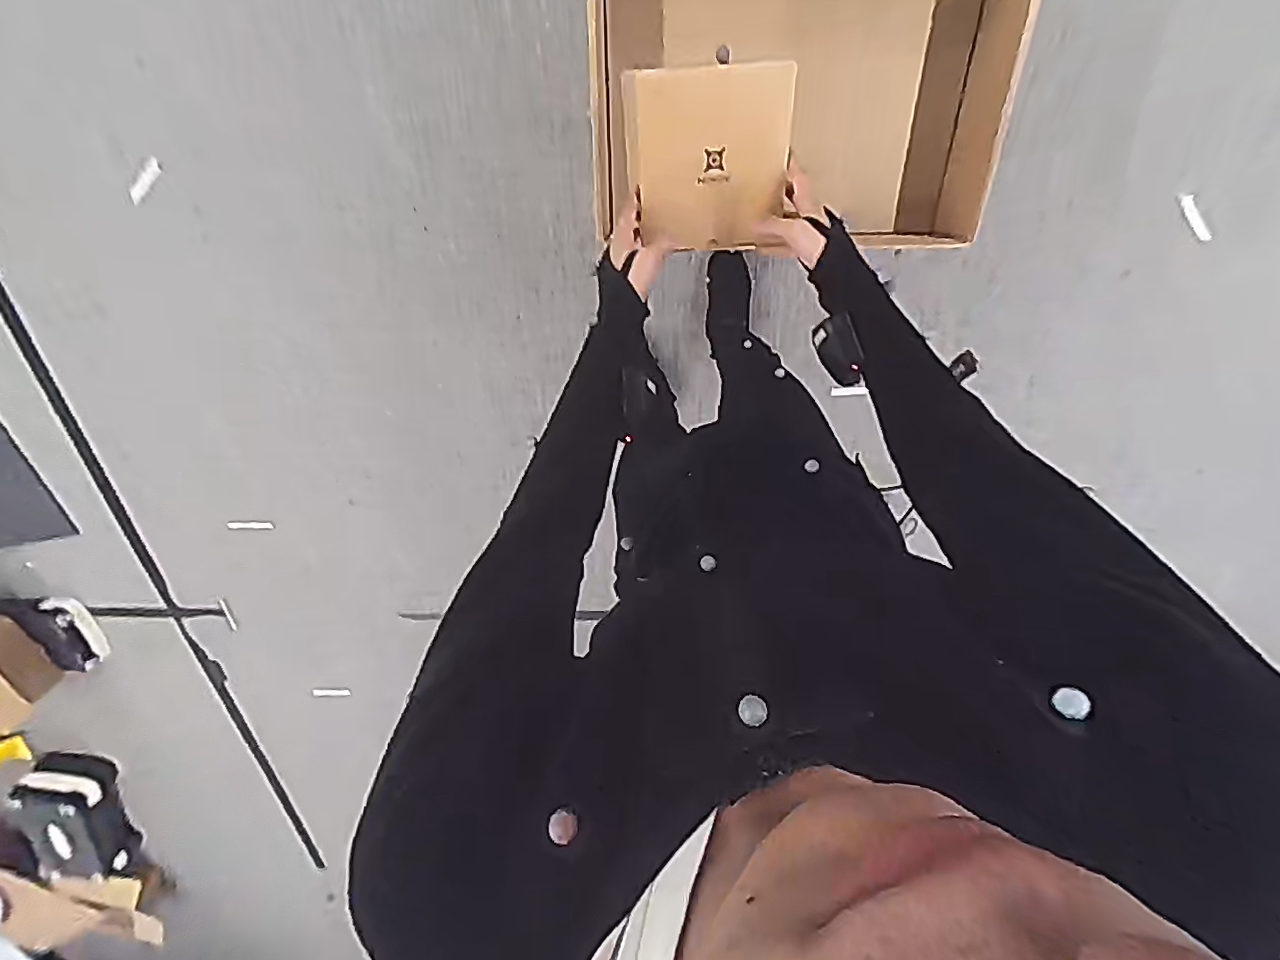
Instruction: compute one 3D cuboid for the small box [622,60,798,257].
[{"bbox_3d":[0.071,-0.384,0.641,0.168,0.176,0.179,-6,129,-2],"label":"small box"}]
